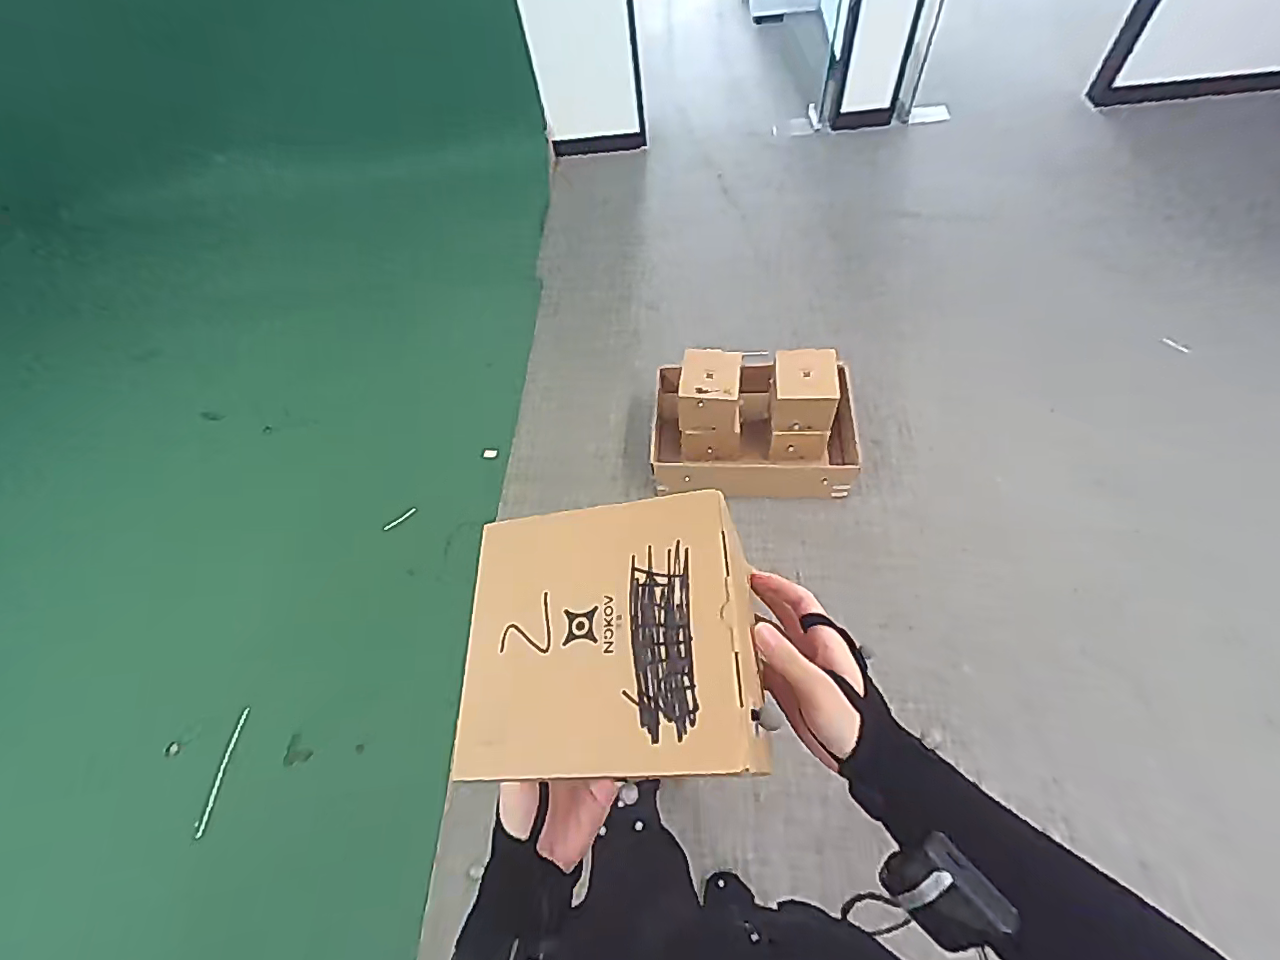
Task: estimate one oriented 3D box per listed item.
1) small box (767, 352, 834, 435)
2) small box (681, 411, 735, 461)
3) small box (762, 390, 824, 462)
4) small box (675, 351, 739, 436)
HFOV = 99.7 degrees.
[{"bbox_3d":[0.460,-0.252,1.574,0.168,0.176,0.179,1,61,9],"label":"small box"},{"bbox_3d":[0.217,-0.173,1.743,0.168,0.176,0.179,0,61,5],"label":"small box"},{"bbox_3d":[0.479,-0.168,1.713,0.168,0.176,0.179,0,61,7],"label":"small box"},{"bbox_3d":[0.197,-0.255,1.601,0.168,0.176,0.179,5,61,9],"label":"small box"}]
